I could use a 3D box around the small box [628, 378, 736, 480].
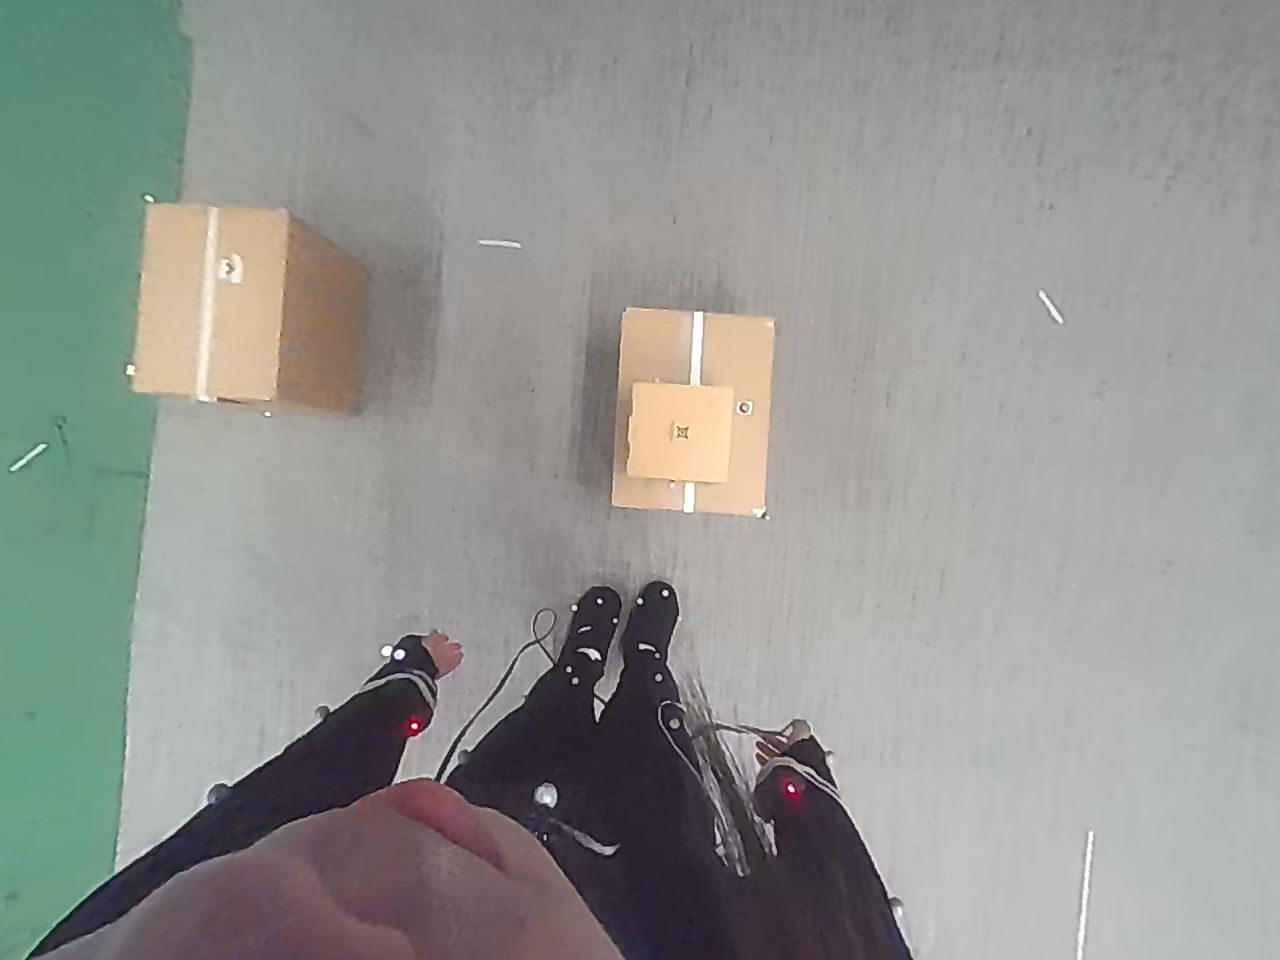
[{"bbox_3d":[0.077,-0.090,1.005,0.179,0.176,0.168,4,91,5],"label":"small box"}]

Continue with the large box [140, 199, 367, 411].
[{"bbox_3d":[-0.883,-0.385,1.279,0.320,0.320,0.408,4,90,2],"label":"large box"}]
